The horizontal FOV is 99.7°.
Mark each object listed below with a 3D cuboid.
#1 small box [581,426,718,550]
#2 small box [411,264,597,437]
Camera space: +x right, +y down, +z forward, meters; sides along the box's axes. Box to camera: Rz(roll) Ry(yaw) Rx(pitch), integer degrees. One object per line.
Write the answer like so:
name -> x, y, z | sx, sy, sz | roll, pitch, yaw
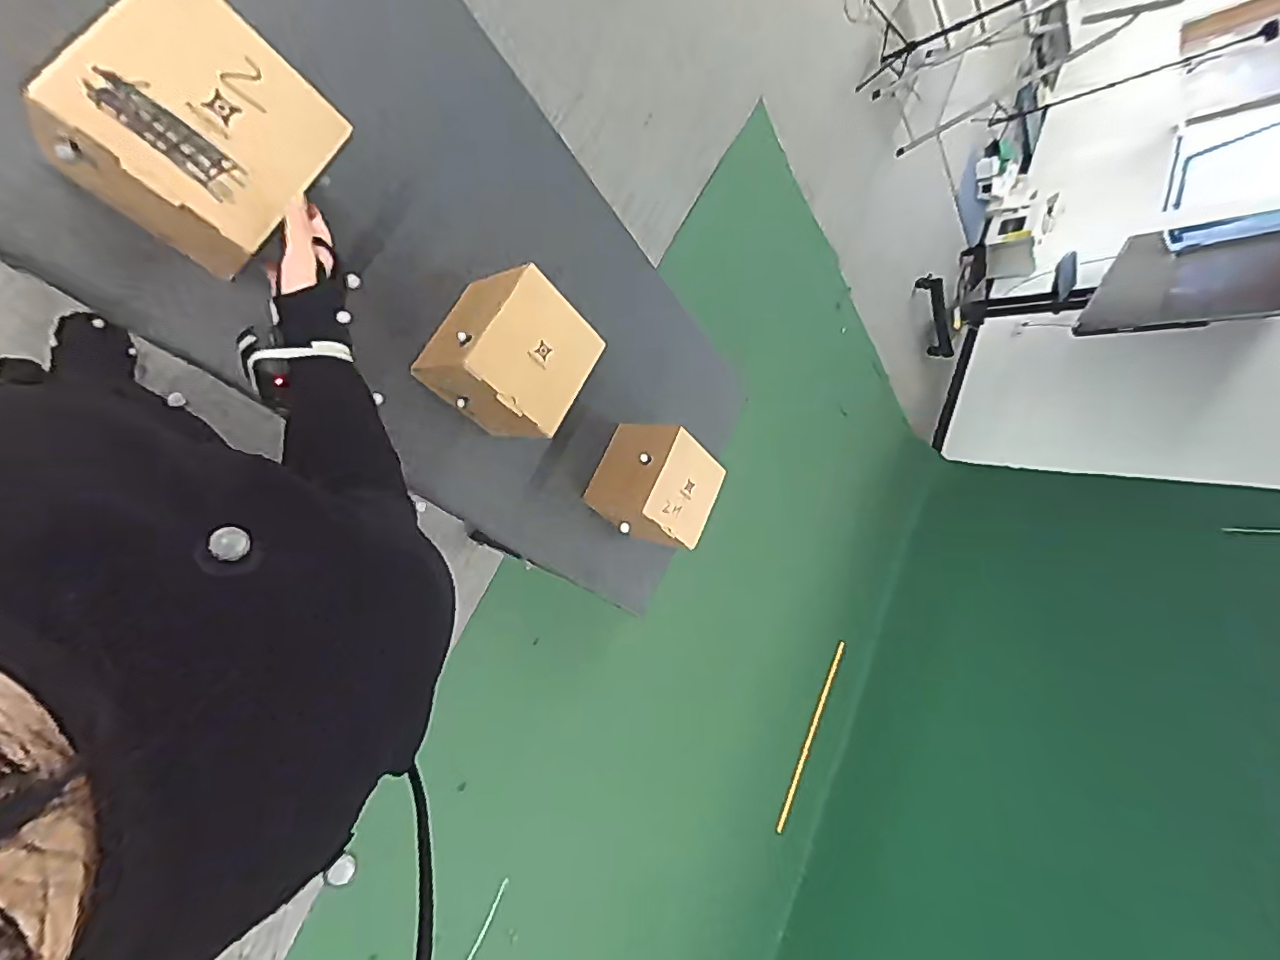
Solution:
small box -> 0.016, 0.008, 1.039 | 0.168, 0.176, 0.179 | 40, 69, -39
small box -> -0.202, -0.185, 0.799 | 0.168, 0.176, 0.179 | 42, 68, -40
